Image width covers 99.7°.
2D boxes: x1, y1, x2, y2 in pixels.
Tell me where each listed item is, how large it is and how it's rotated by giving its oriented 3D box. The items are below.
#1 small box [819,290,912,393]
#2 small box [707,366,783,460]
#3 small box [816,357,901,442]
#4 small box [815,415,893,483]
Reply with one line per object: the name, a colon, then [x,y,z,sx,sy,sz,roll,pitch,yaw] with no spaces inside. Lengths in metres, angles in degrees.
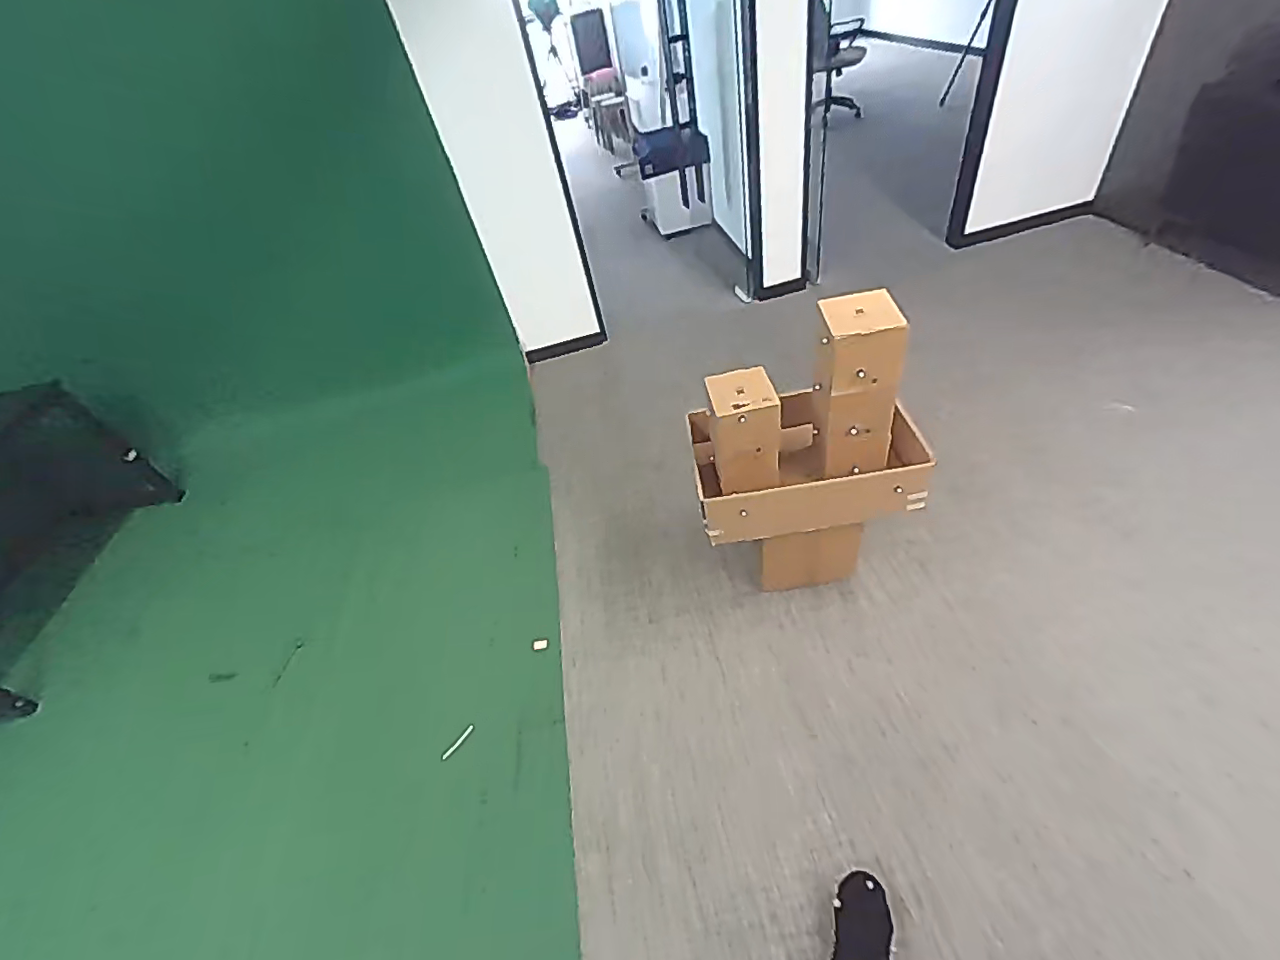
small box: [0.541,-0.338,1.325,0.168,0.176,0.179,-8,45,8]
small box: [0.283,-0.180,1.466,0.168,0.176,0.179,-12,44,4]
small box: [0.569,-0.224,1.437,0.168,0.176,0.179,-8,45,8]
small box: [0.604,-0.113,1.551,0.168,0.176,0.179,-7,45,8]
